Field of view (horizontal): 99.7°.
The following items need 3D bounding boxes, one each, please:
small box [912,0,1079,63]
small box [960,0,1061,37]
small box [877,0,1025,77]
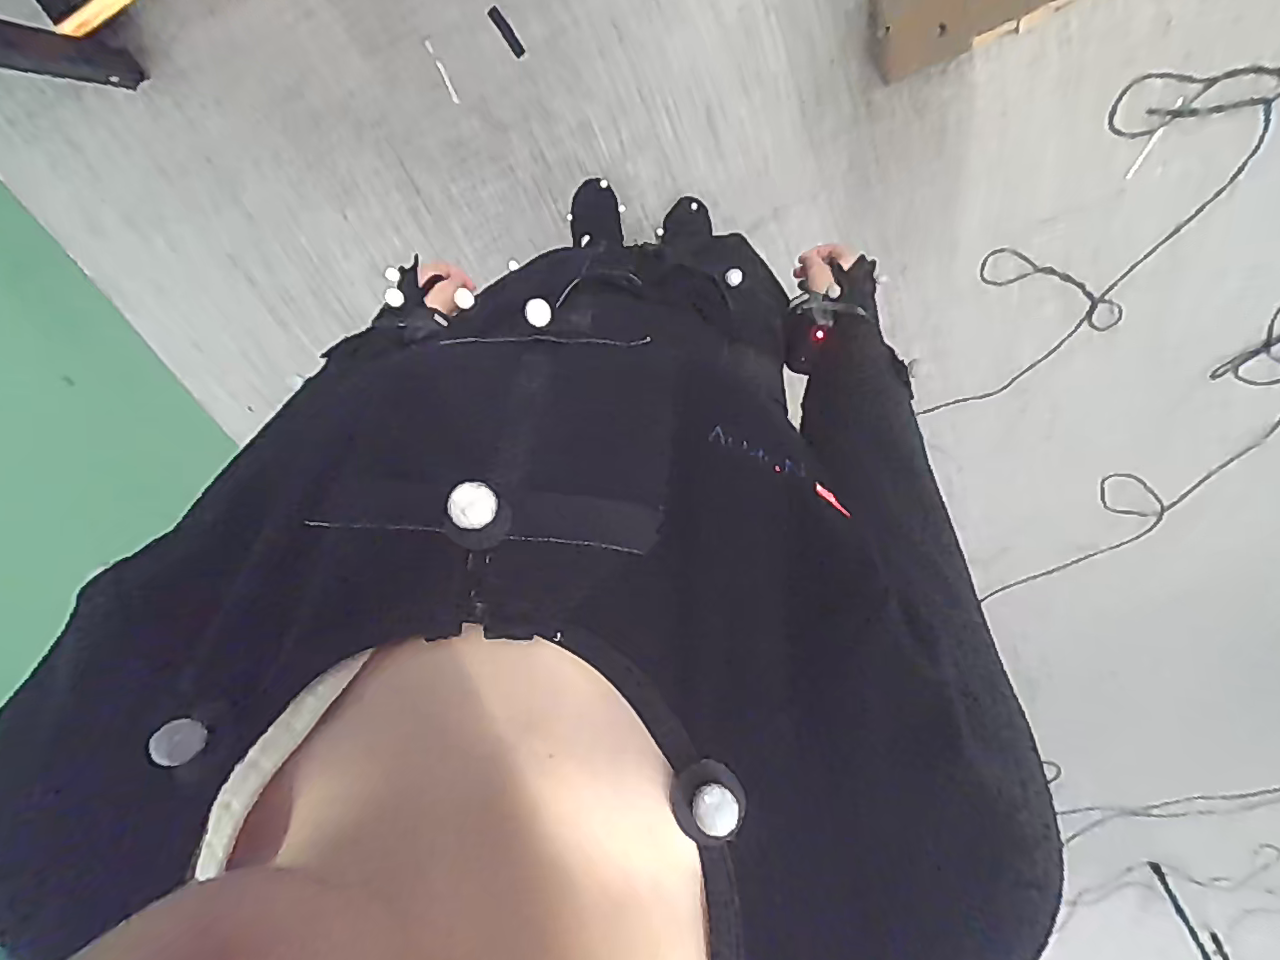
[{"bbox_3d":[0.501,-0.728,0.763,0.168,0.176,0.179,-21,115,13],"label":"small box"},{"bbox_3d":[0.492,-0.654,0.616,0.179,0.176,0.168,-19,116,13],"label":"small box"},{"bbox_3d":[0.513,-0.807,0.903,0.168,0.176,0.179,-18,118,11],"label":"small box"}]
